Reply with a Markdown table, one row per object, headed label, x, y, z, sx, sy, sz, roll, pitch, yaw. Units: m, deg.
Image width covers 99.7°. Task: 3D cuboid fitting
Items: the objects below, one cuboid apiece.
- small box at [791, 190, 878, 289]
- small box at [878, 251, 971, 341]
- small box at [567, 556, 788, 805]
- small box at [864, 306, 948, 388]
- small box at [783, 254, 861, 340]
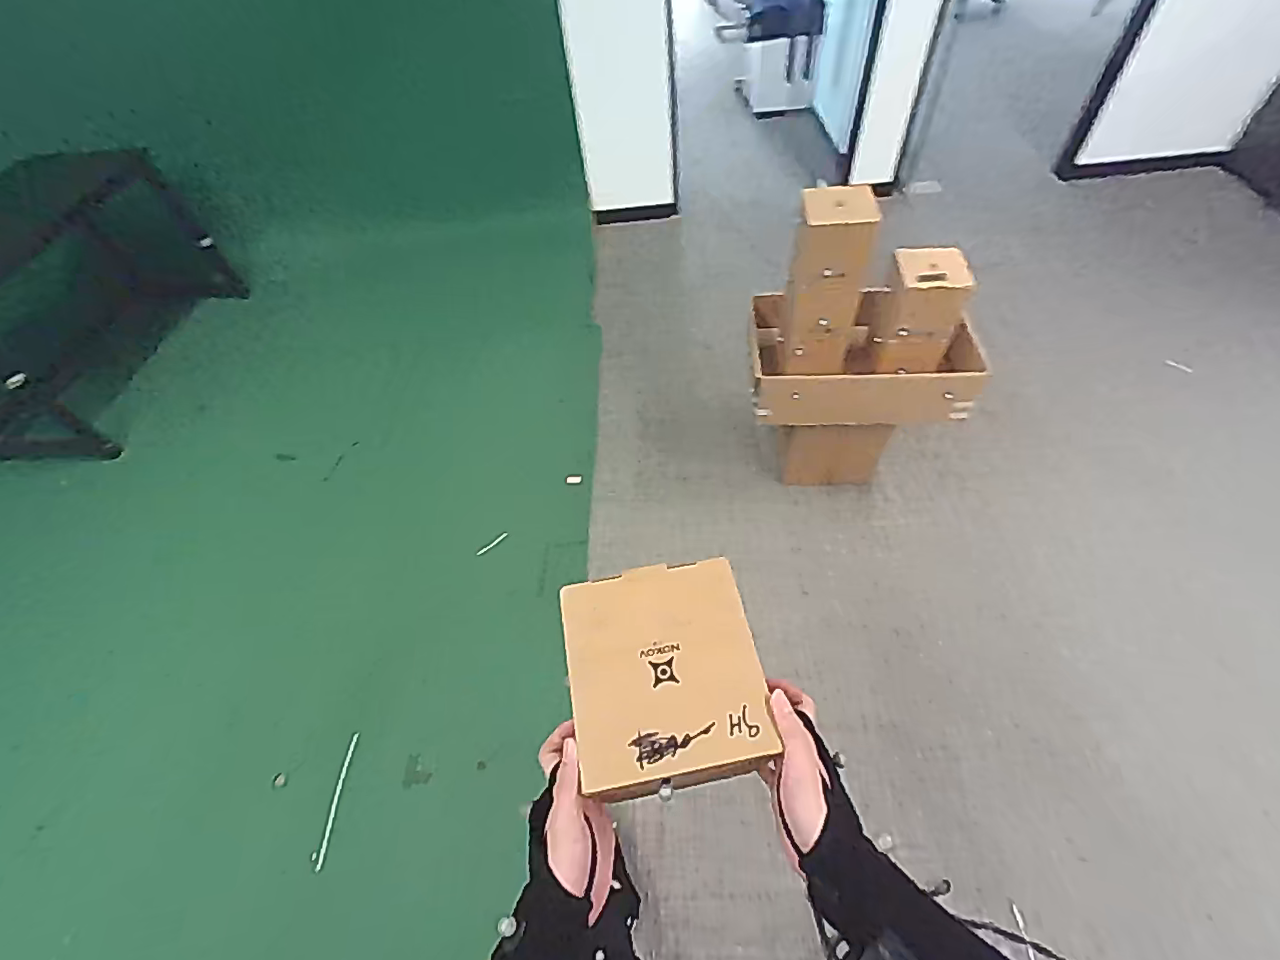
| label | x | y | z | sx | sy | sz | roll | pitch | yaw |
| --- | --- | --- | --- | --- | --- | --- | --- | --- | --- |
| small box | 0.483 | -0.607 | 1.370 | 0.168 | 0.176 | 0.179 | 0 | 53 | 7 |
| small box | 0.758 | -0.492 | 1.459 | 0.168 | 0.176 | 0.179 | 2 | 53 | 7 |
| small box | 0.025 | 0.199 | 0.527 | 0.168 | 0.176 | 0.179 | -9 | 56 | -3 |
| small box | 0.771 | -0.392 | 1.590 | 0.168 | 0.176 | 0.179 | 1 | 54 | 7 |
| small box | 0.495 | -0.509 | 1.499 | 0.168 | 0.176 | 0.179 | 0 | 53 | 6 |
